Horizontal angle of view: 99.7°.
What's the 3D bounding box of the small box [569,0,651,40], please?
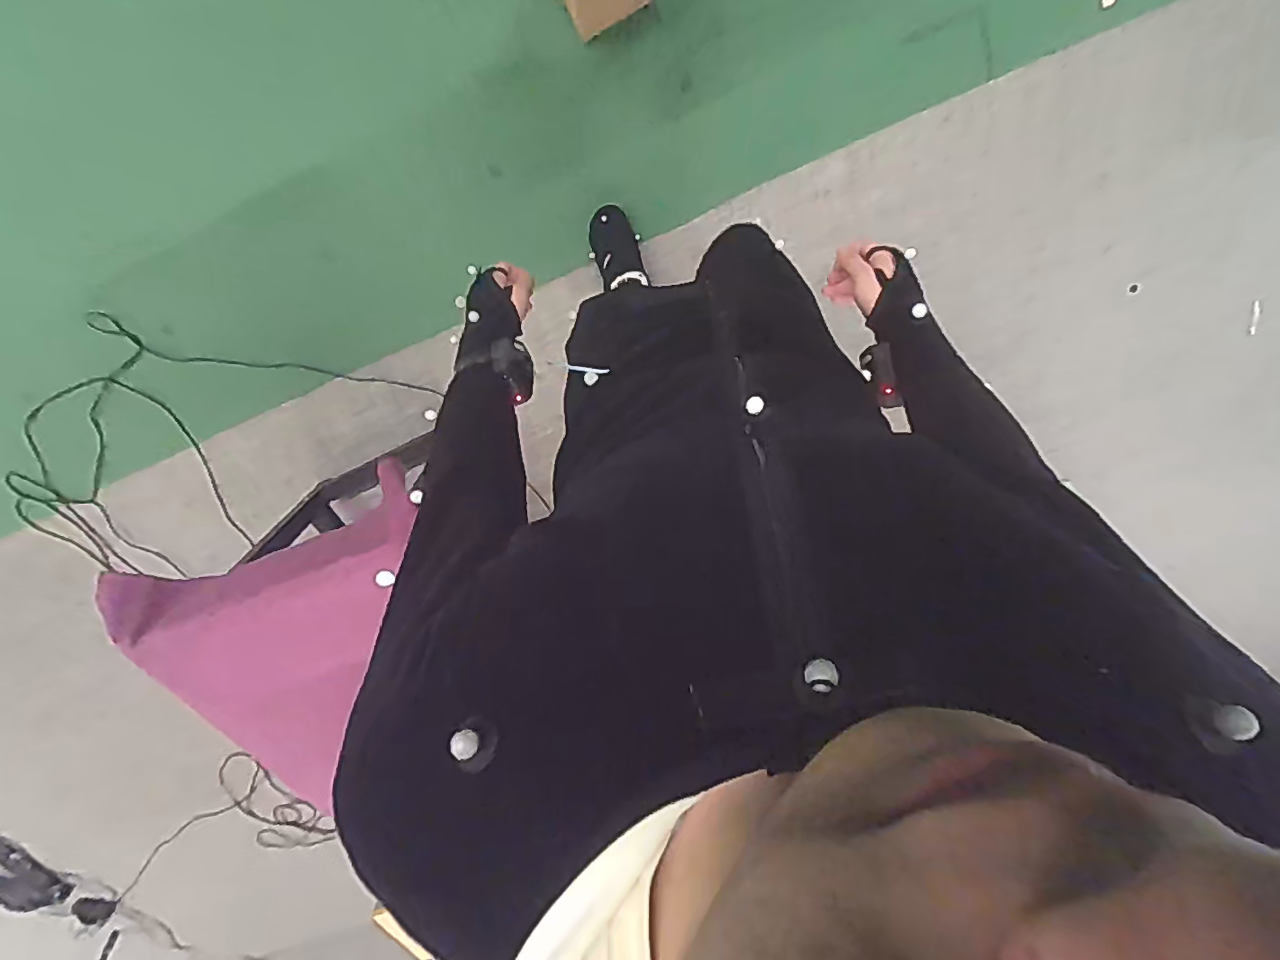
[{"bbox_3d":[-0.071,-1.041,1.091,0.179,0.176,0.168,-25,116,10],"label":"small box"}]
